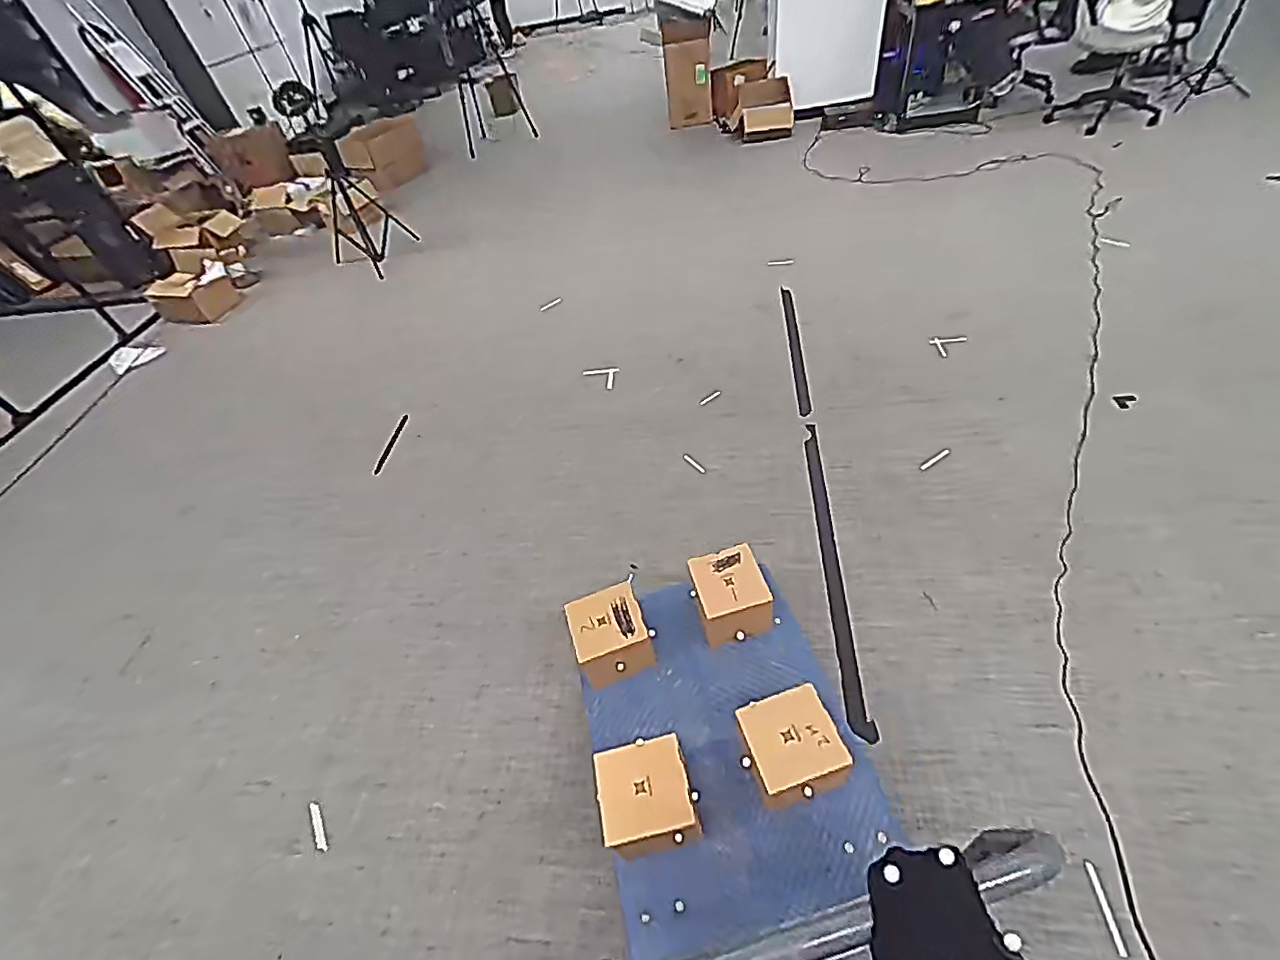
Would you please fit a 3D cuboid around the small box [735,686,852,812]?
[{"bbox_3d":[0.313,0.563,1.124,0.179,0.176,0.168,-18,47,-4],"label":"small box"}]

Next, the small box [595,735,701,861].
[{"bbox_3d":[0.018,0.654,1.106,0.179,0.176,0.168,-13,46,-2],"label":"small box"}]

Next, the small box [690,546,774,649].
[{"bbox_3d":[0.231,0.301,1.383,0.168,0.176,0.179,-16,48,-2],"label":"small box"}]
